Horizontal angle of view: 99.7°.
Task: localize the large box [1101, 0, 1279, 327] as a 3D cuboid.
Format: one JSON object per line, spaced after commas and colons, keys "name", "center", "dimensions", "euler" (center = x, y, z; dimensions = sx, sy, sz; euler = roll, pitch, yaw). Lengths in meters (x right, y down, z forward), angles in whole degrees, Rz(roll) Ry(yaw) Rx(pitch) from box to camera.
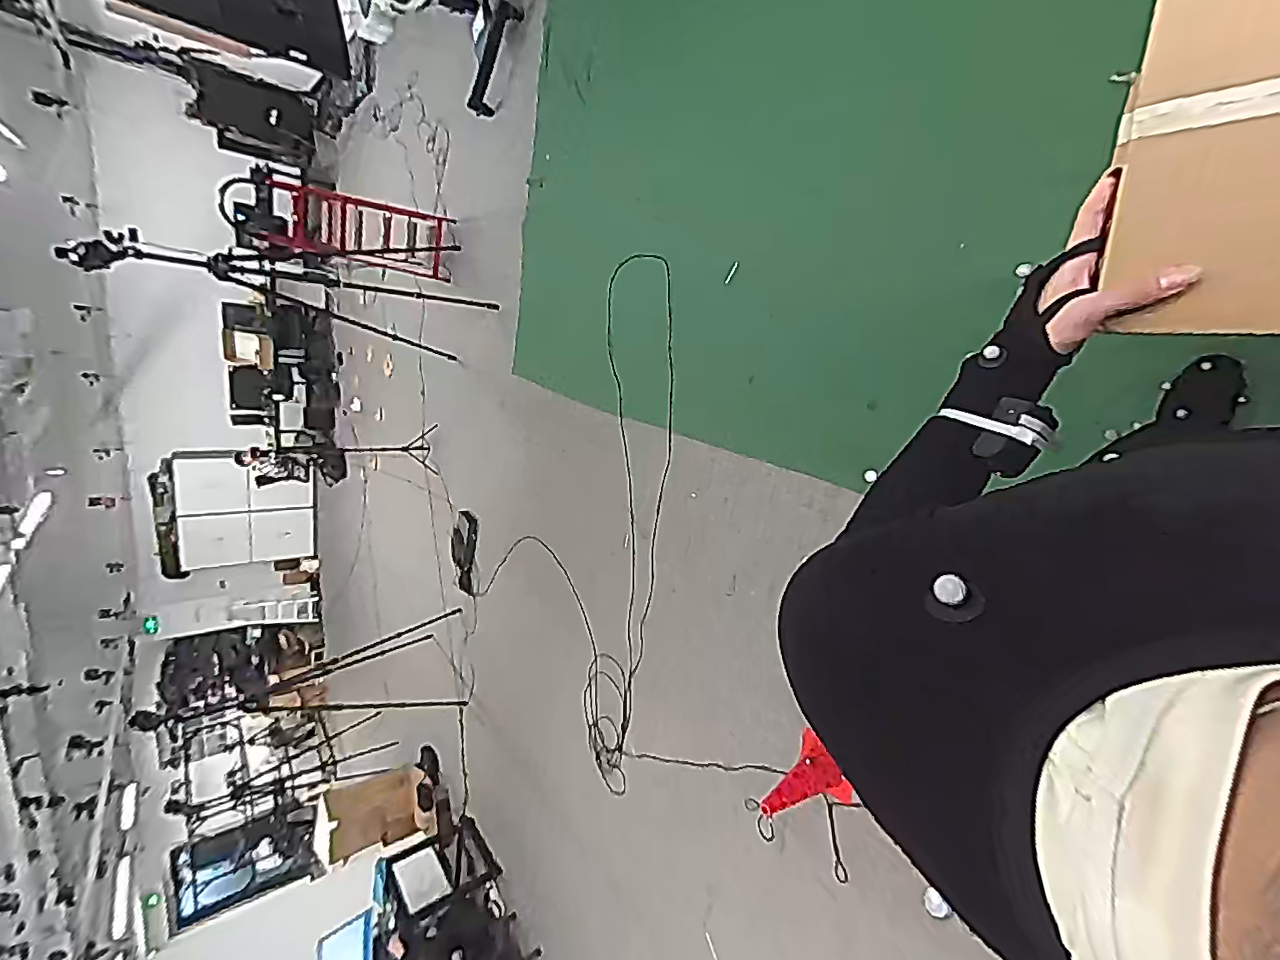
{"name": "large box", "center": [0.633, -0.279, 0.390], "dimensions": [0.408, 0.320, 0.320], "euler": [14, 114, 43]}
